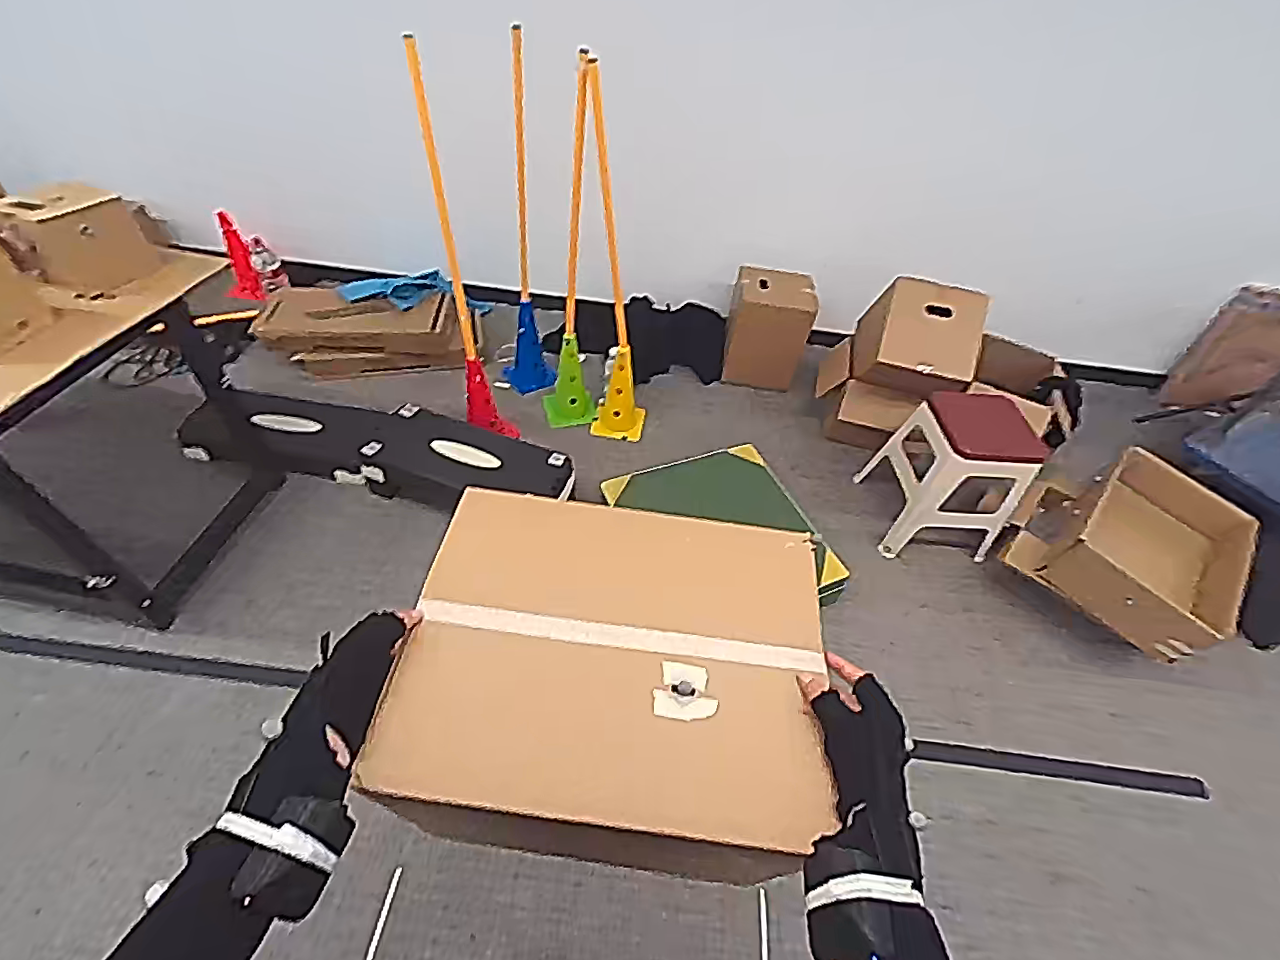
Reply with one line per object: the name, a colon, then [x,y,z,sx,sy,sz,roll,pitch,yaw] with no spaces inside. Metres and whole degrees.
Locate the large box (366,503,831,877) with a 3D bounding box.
large box: [-0.034,0.262,0.659,0.408,0.320,0.320,8,51,1]
